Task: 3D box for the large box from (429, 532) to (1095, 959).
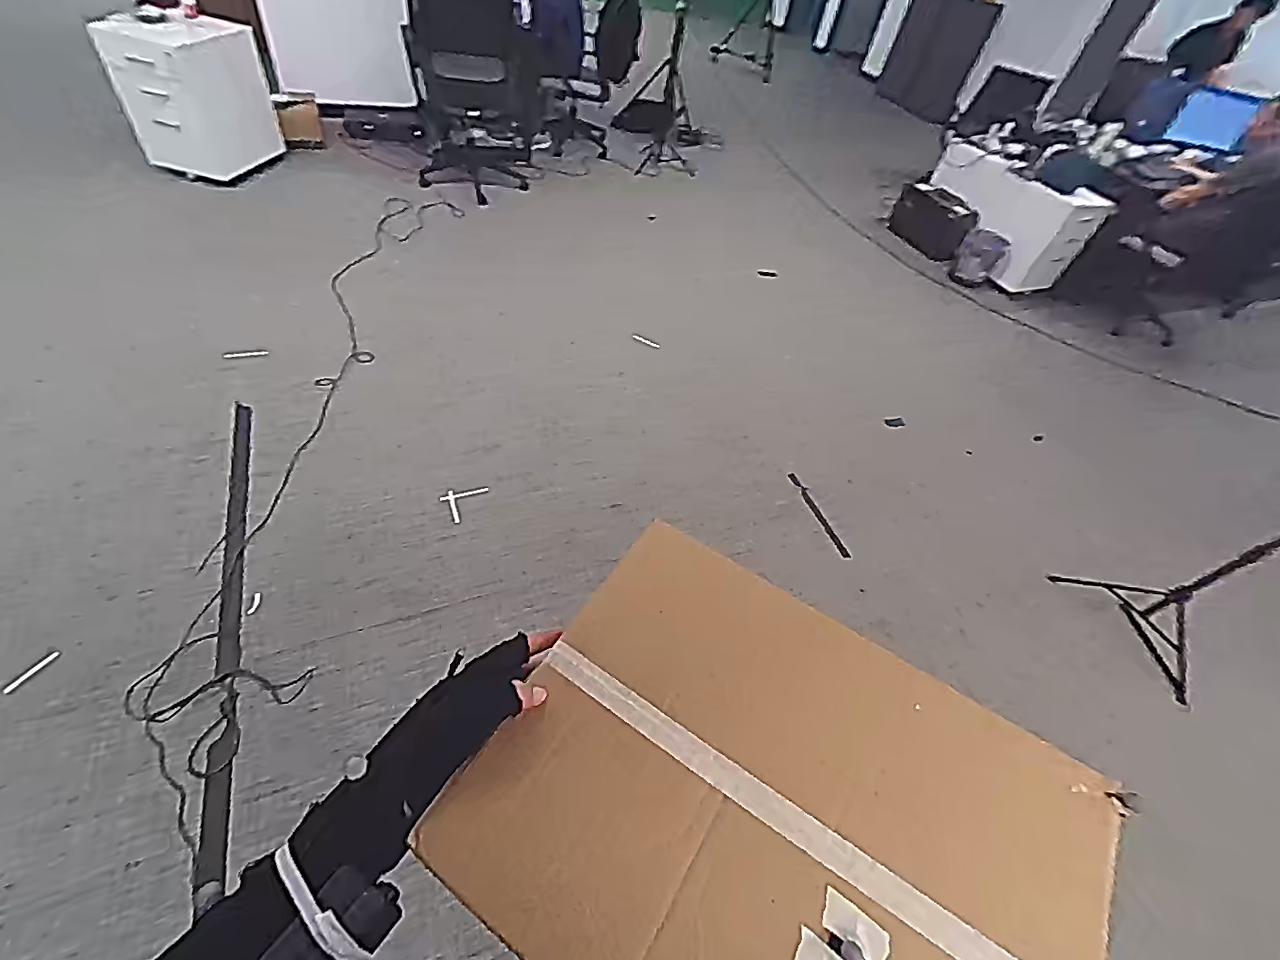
[{"bbox_3d":[0.091,0.326,0.510,0.408,0.320,0.320,30,58,18],"label":"large box"}]
